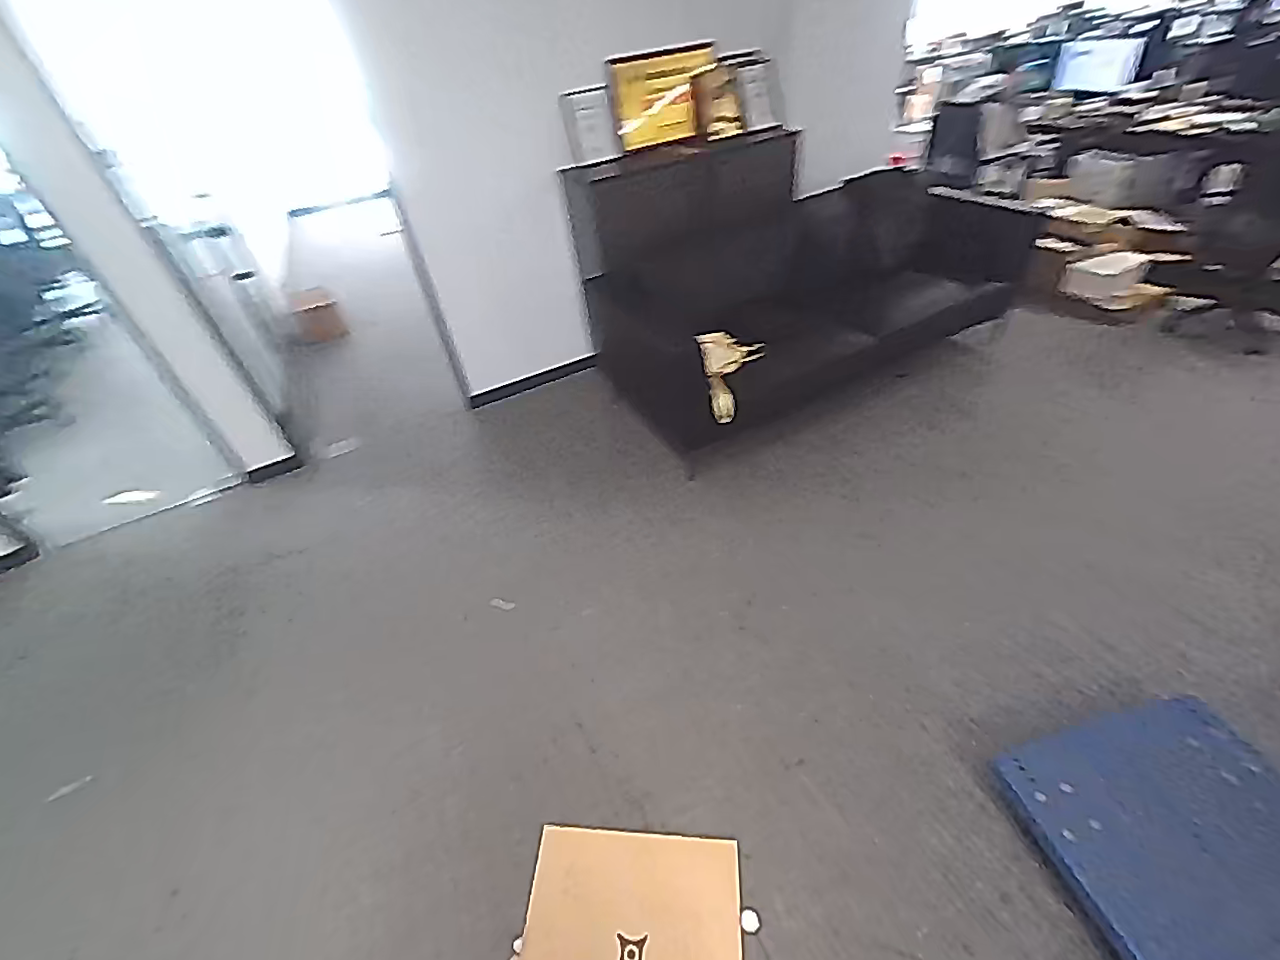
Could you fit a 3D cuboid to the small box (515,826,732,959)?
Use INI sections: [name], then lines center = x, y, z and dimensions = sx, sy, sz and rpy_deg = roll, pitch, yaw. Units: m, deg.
[small box]
center = -0.010, 0.421, 0.454
dimensions = 0.168, 0.176, 0.179
rpy_deg = 1, 43, 6
